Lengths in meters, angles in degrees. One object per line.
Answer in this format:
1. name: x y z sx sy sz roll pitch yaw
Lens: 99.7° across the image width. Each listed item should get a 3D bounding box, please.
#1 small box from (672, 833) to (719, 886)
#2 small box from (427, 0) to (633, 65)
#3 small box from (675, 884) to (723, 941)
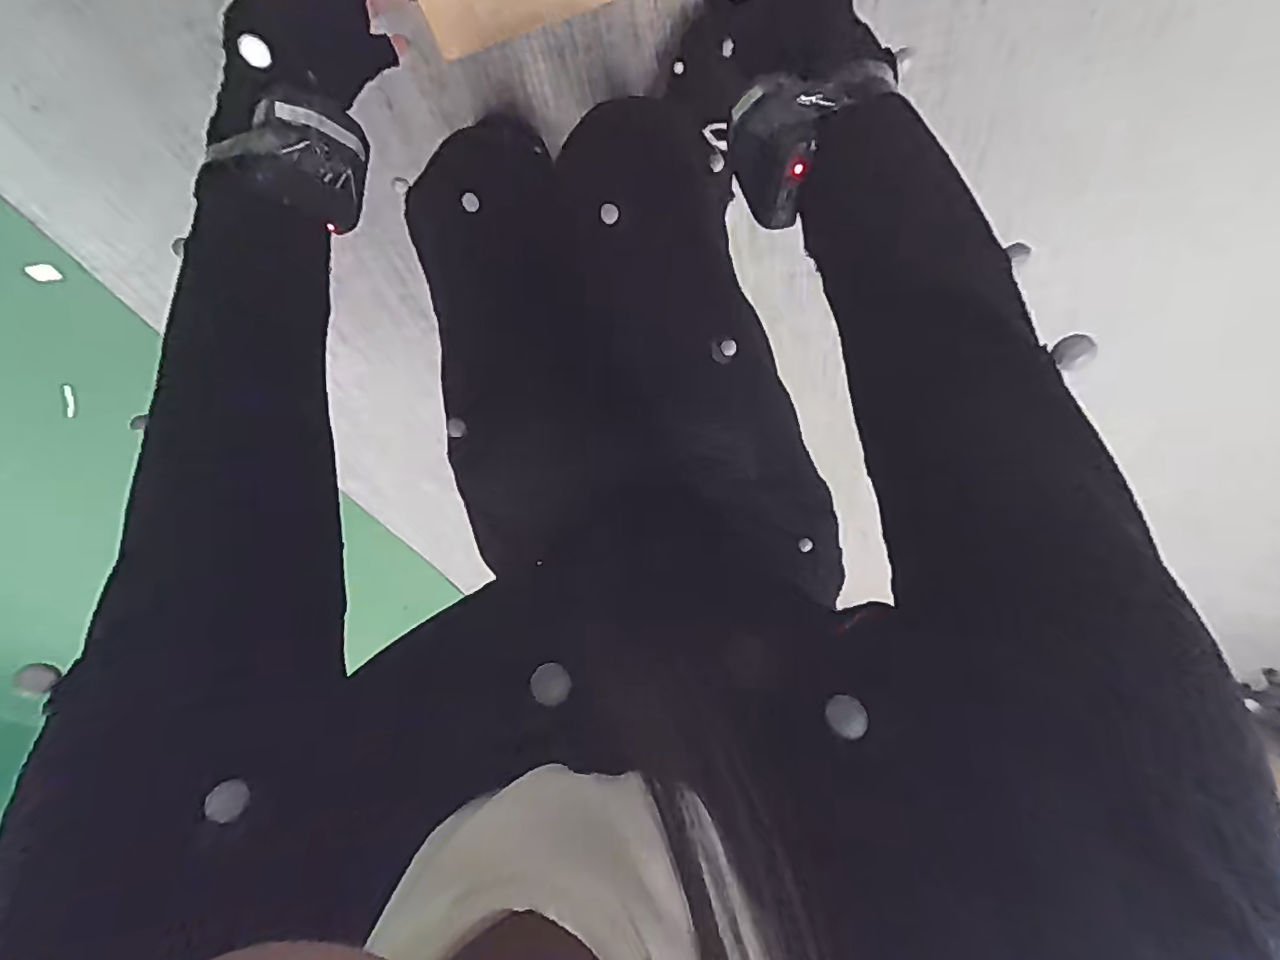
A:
1. small box: 0.226 1.561 2.223 0.179 0.176 0.168 -7 145 7
2. small box: -0.090 -0.455 0.398 0.179 0.176 0.168 -13 142 10
3. small box: 0.231 1.689 2.122 0.179 0.176 0.168 -6 145 8
